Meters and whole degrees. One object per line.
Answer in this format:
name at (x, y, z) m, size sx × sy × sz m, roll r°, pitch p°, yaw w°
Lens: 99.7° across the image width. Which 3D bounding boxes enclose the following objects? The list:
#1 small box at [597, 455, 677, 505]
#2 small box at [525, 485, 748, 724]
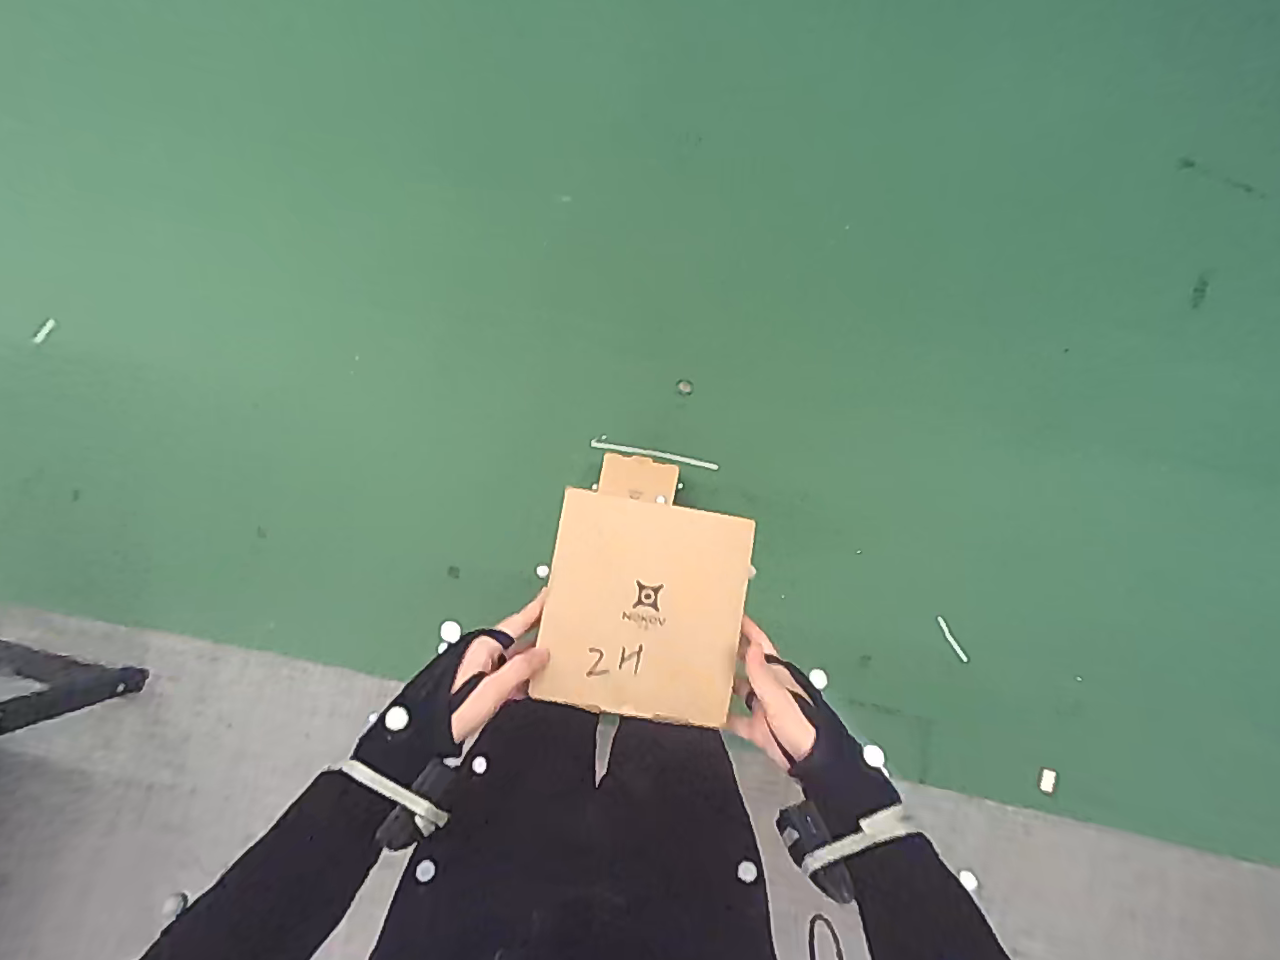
small box at (-0.011, 0.053, 1.237) m, size 0.168 × 0.176 × 0.179 m, roll 11°, pitch 85°, yaw 3°
small box at (-0.006, 0.114, 0.534) m, size 0.168 × 0.176 × 0.179 m, roll 11°, pitch 82°, yaw -3°
